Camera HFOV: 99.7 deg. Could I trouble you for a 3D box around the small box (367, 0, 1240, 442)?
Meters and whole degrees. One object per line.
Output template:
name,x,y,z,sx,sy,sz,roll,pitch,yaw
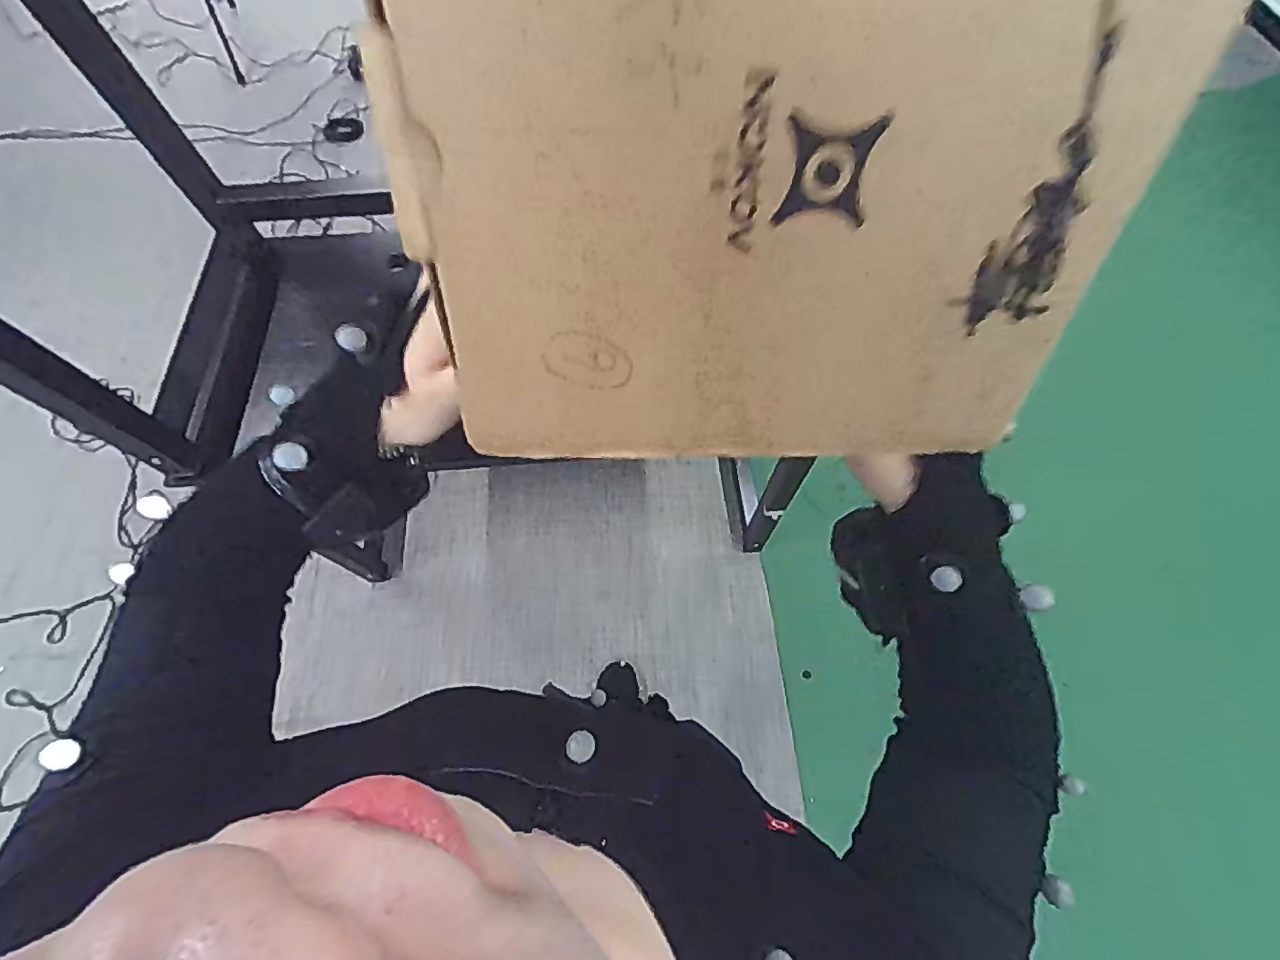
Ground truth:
small box,0.031,-0.130,0.182,0.179,0.168,0.176,0,42,-2
